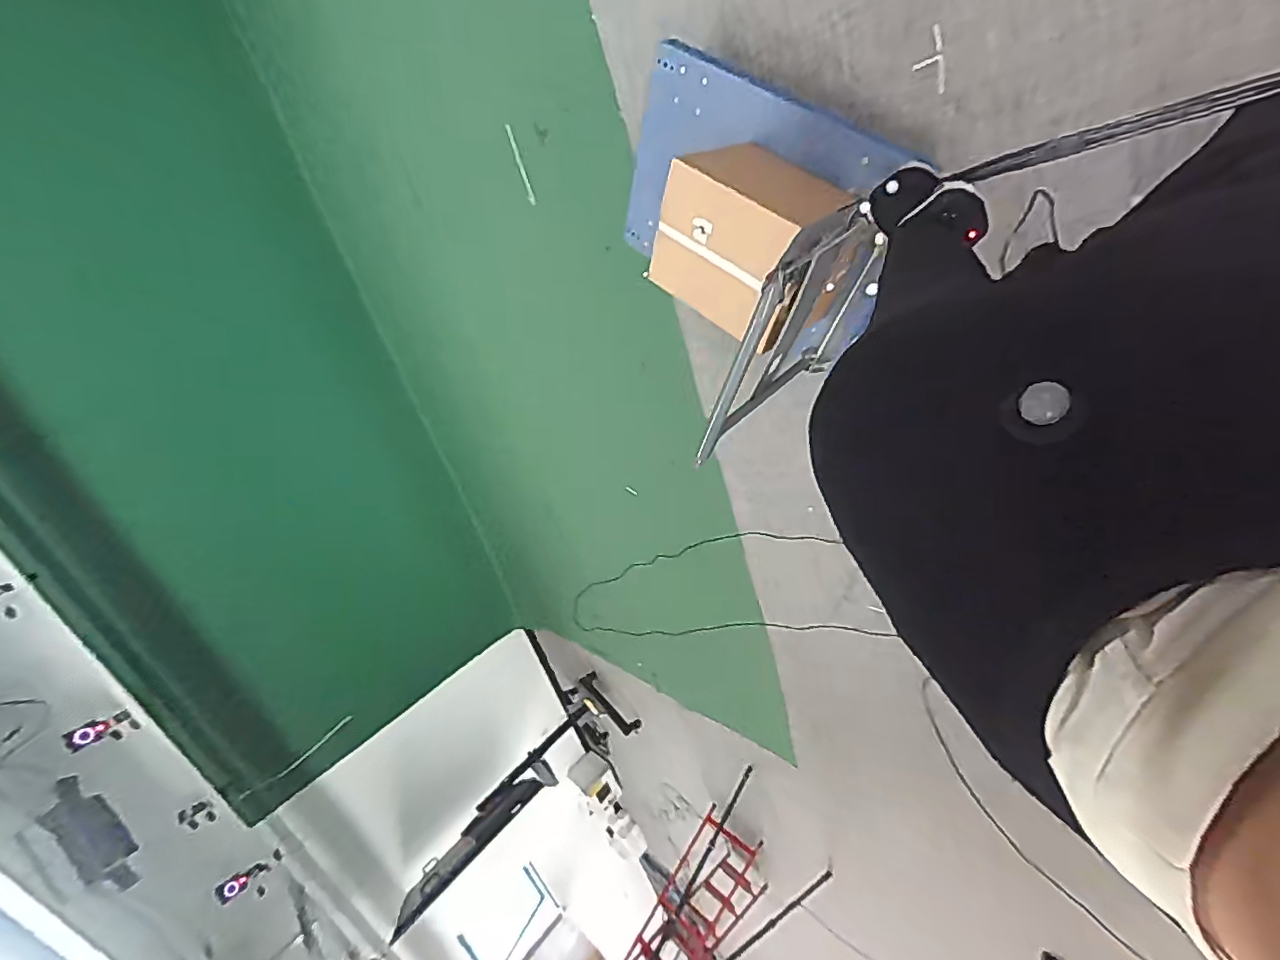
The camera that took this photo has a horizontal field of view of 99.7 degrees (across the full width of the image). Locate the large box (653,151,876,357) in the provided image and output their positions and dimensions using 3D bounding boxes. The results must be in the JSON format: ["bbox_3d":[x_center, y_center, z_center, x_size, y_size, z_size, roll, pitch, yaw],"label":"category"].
[{"bbox_3d":[0.303,-0.588,1.389,0.408,0.320,0.320,42,143,21],"label":"large box"}]
